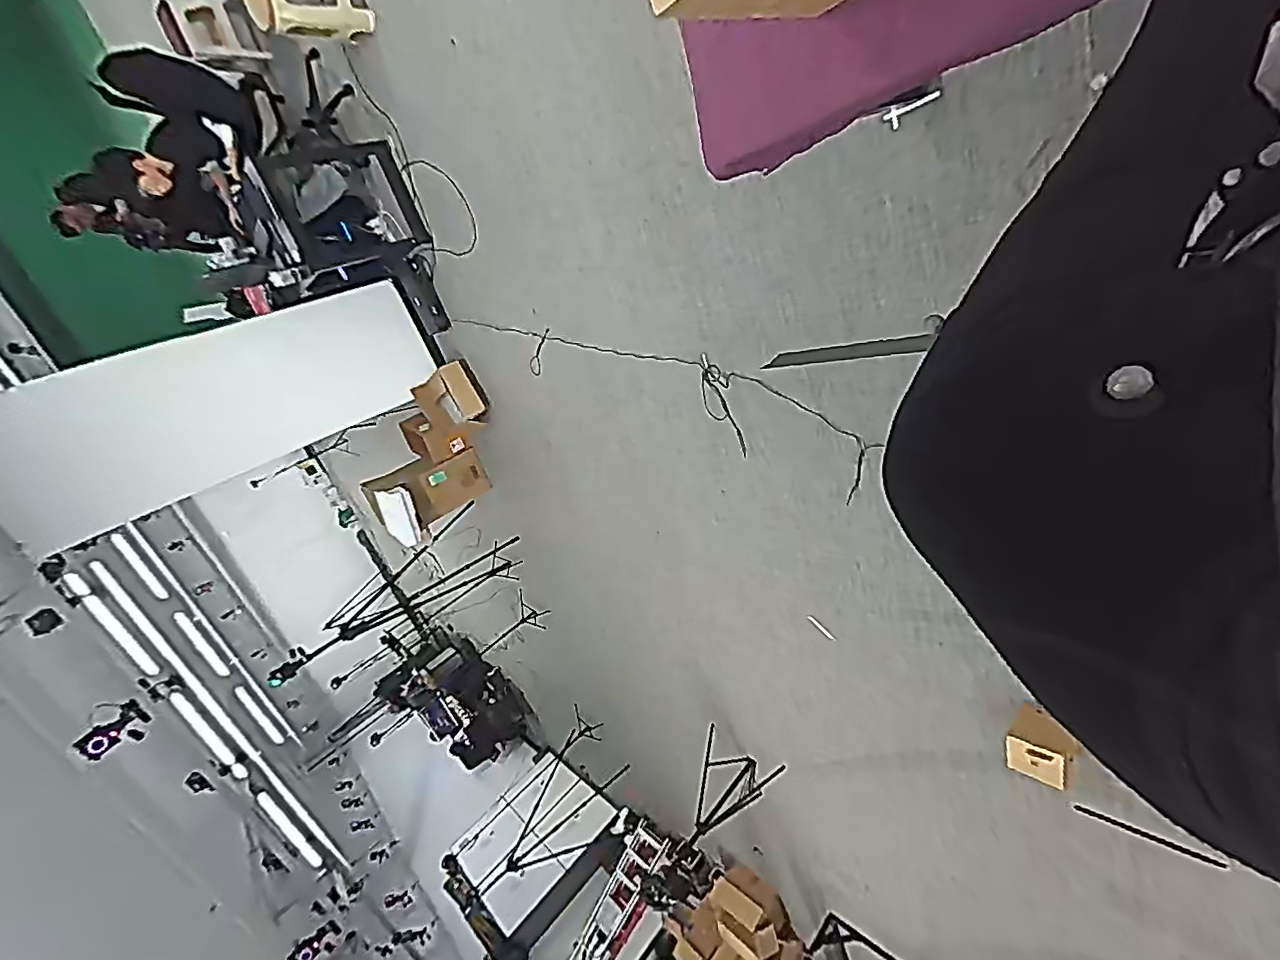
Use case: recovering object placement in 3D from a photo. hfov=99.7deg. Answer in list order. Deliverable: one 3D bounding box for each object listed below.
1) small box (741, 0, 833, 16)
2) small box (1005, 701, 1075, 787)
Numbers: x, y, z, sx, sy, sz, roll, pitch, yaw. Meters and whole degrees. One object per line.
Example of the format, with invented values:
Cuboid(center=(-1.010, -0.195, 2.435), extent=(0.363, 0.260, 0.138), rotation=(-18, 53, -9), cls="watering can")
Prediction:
Cuboid(center=(0.216, -0.671, 0.613), extent=(0.179, 0.176, 0.168), rotation=(8, 125, 48), cls="small box")
Cuboid(center=(1.401, 0.914, 1.892), extent=(0.168, 0.176, 0.179), rotation=(10, 128, 48), cls="small box")
